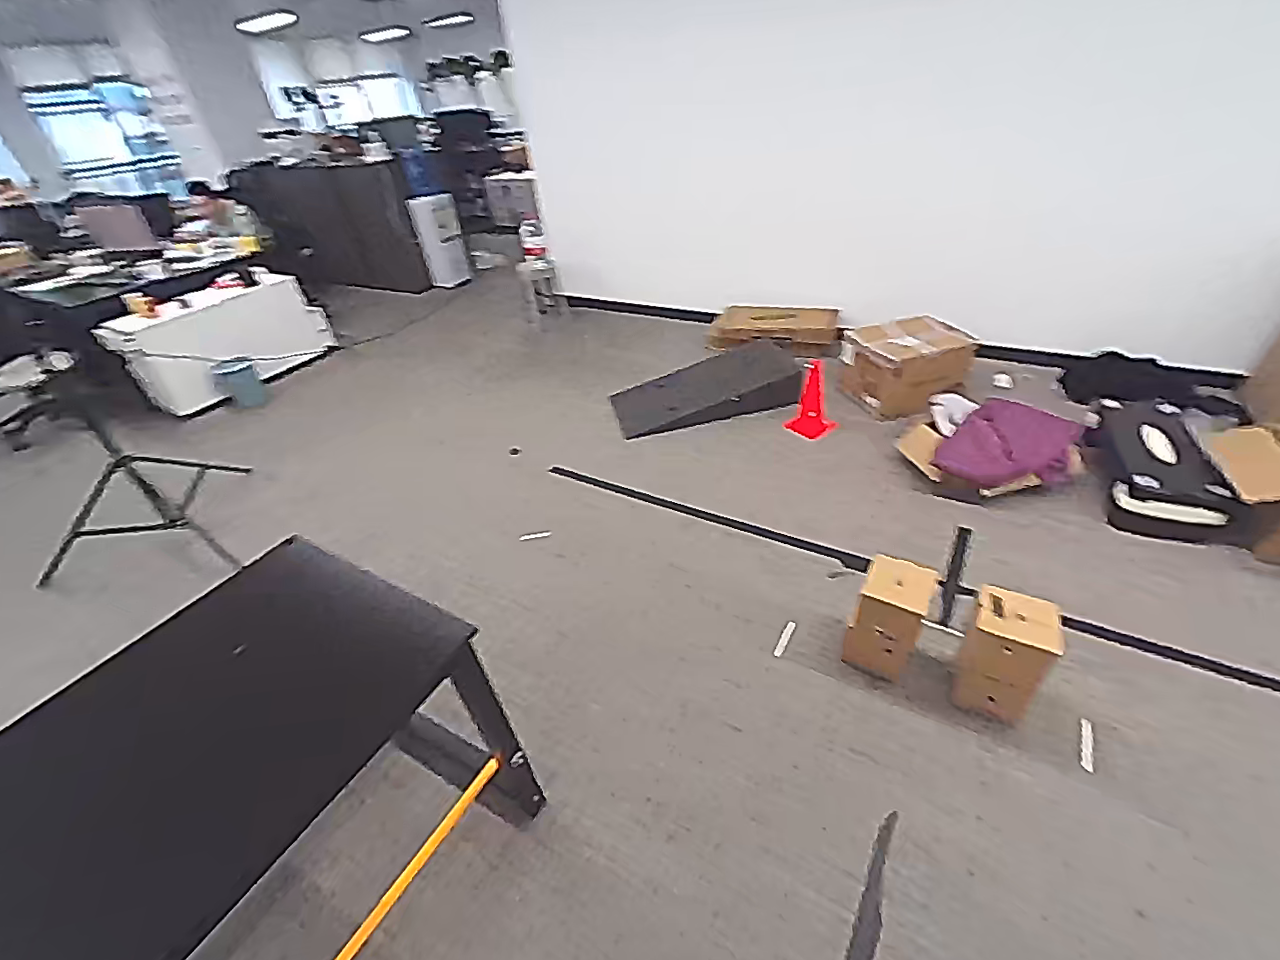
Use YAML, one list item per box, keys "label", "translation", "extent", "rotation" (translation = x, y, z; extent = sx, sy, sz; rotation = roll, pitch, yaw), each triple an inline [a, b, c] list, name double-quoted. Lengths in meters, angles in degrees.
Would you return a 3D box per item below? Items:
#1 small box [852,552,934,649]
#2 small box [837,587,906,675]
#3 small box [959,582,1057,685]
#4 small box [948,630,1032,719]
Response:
- label: "small box"
  translation: [0.713, 0.340, 1.533]
  extent: [0.168, 0.176, 0.179]
  rotation: [16, 44, 29]
- label: "small box"
  translation: [0.717, 0.462, 1.641]
  extent: [0.179, 0.176, 0.168]
  rotation: [17, 43, 28]
- label: "small box"
  translation: [0.954, 0.402, 1.413]
  extent: [0.179, 0.176, 0.168]
  rotation: [15, 42, 25]
- label: "small box"
  translation: [0.977, 0.532, 1.513]
  extent: [0.168, 0.176, 0.179]
  rotation: [14, 43, 25]
